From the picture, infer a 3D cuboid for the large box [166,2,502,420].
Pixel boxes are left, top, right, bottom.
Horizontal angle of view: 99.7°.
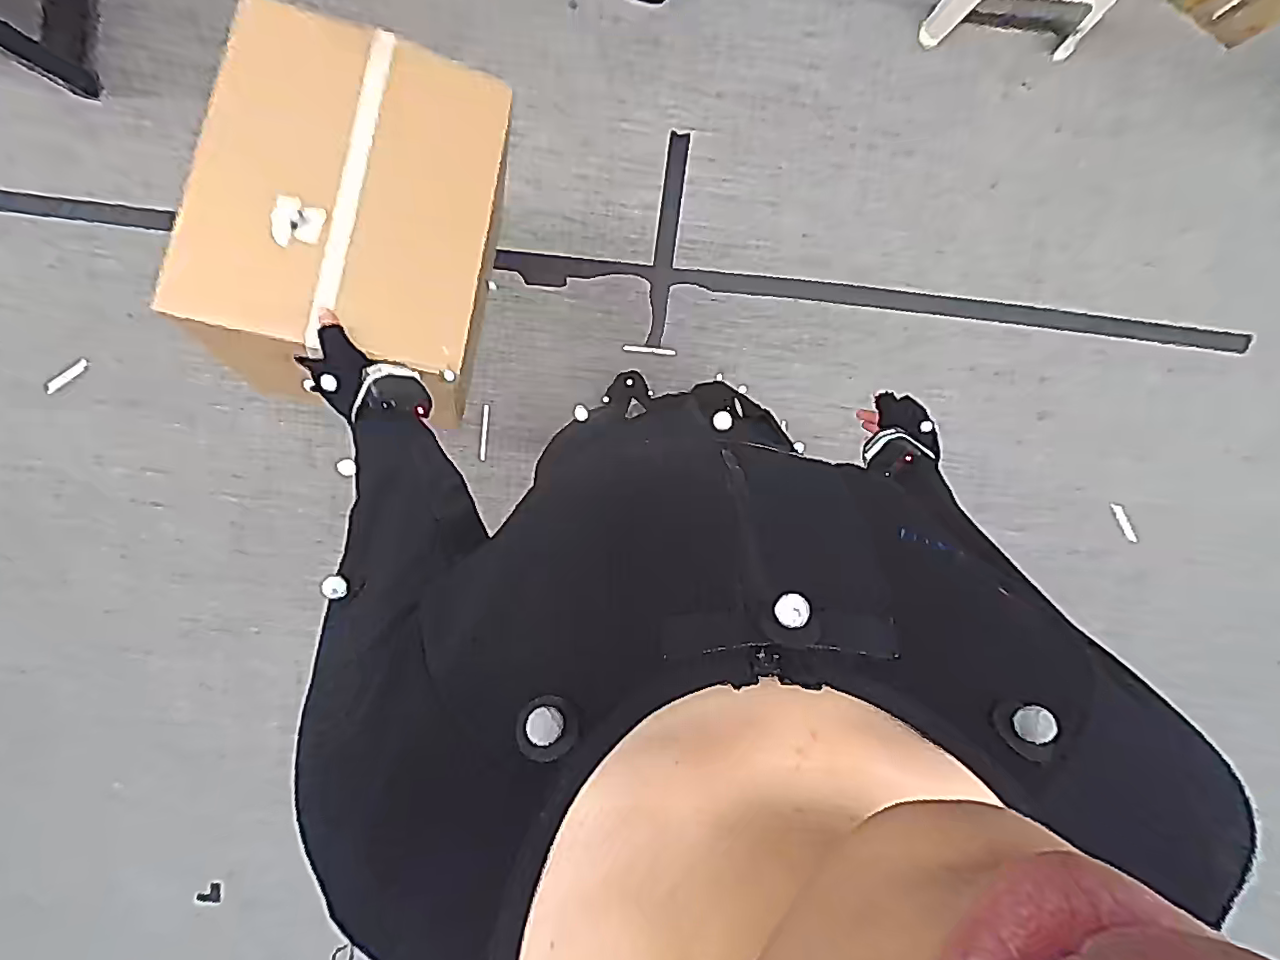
[{"bbox_3d":[-0.396,-0.334,0.794,0.320,0.320,0.408,9,82,-16],"label":"large box"}]
